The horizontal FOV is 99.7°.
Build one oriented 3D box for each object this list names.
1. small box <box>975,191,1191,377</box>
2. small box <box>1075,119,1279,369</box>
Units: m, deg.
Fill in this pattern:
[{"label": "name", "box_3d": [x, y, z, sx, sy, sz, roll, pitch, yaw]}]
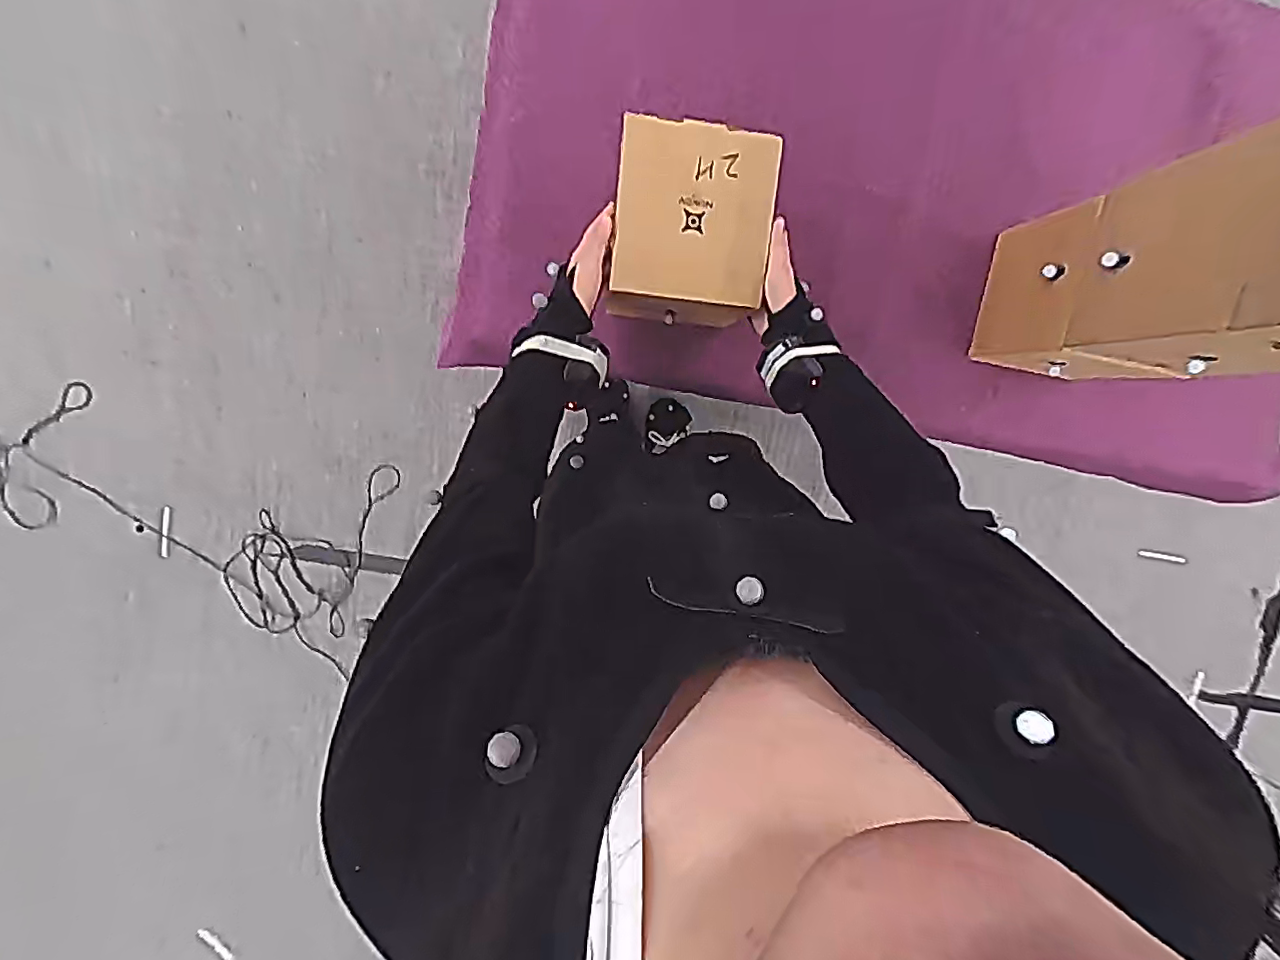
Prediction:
[{"label": "small box", "box_3d": [0.568, -0.231, 0.687, 0.168, 0.176, 0.179, 10, 98, -5]}, {"label": "small box", "box_3d": [0.580, -0.209, 0.525, 0.168, 0.176, 0.179, 10, 99, -5]}]
